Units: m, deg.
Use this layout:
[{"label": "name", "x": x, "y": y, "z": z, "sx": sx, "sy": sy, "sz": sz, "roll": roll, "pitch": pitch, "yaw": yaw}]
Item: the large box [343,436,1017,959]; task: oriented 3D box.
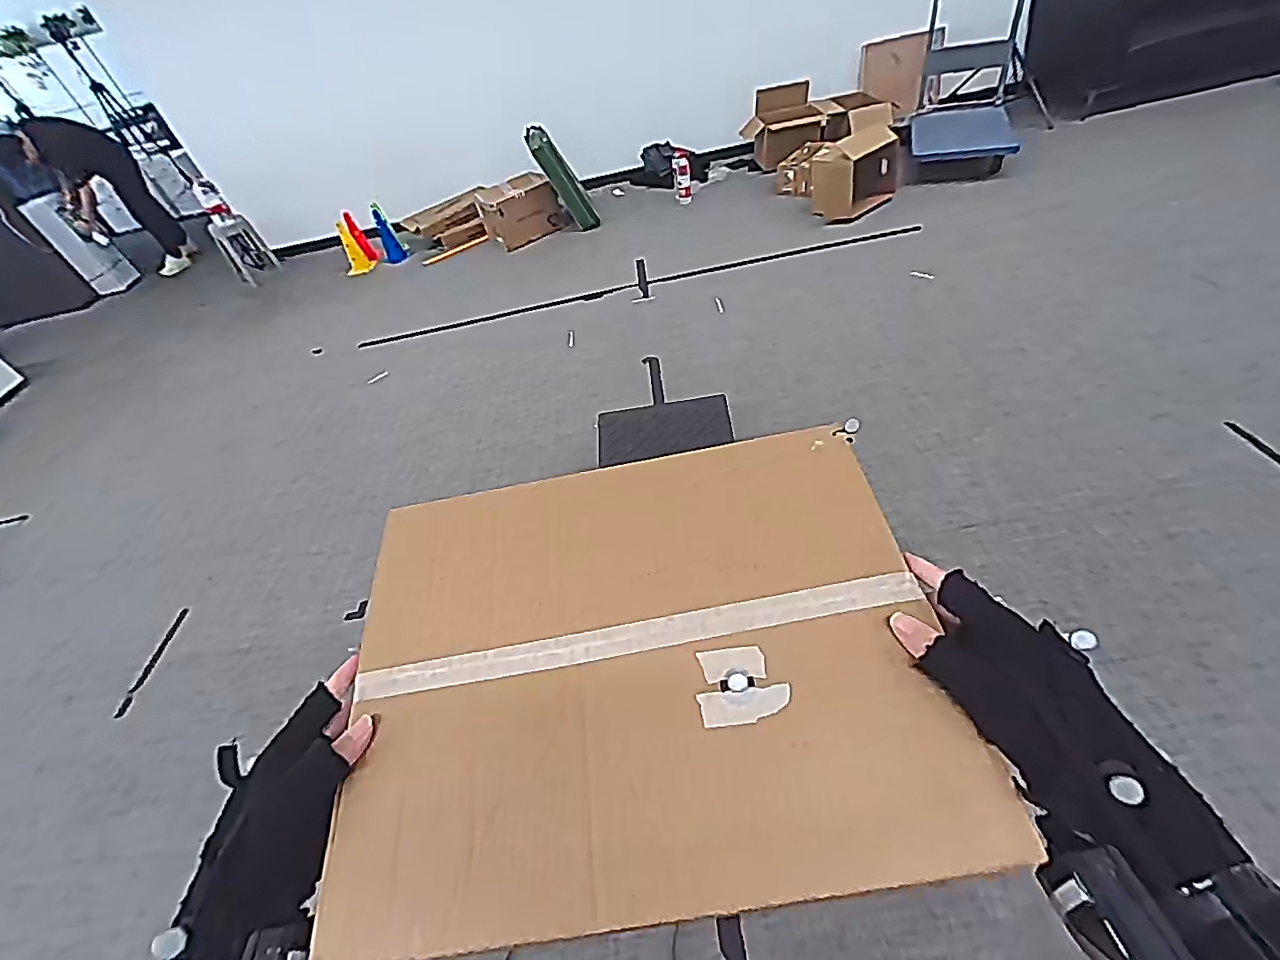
[{"label": "large box", "x": 0.019, "y": 0.206, "z": 0.514, "sx": 0.408, "sy": 0.320, "sz": 0.320, "roll": -11, "pitch": 54, "yaw": 2}]
